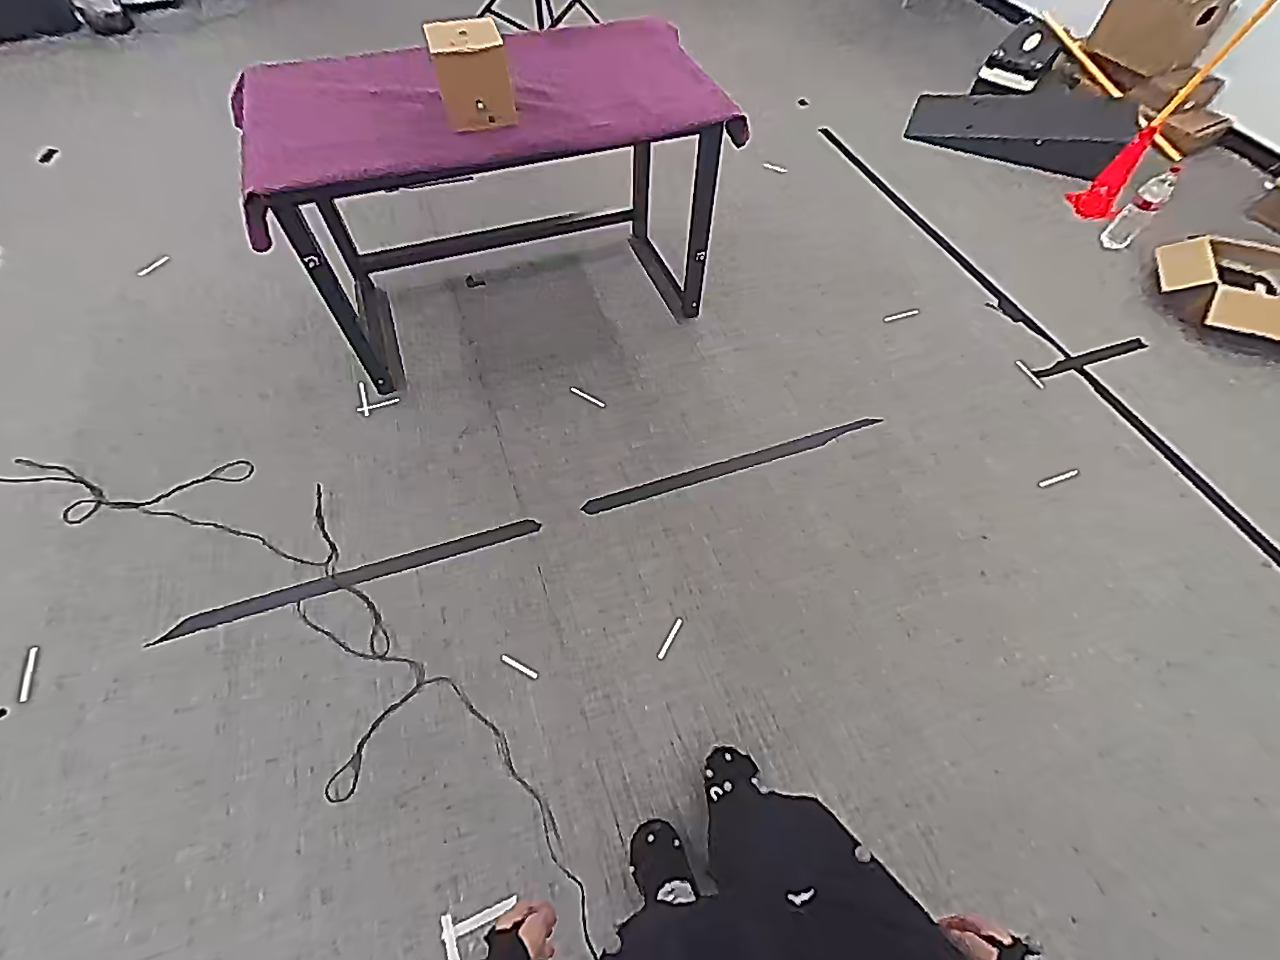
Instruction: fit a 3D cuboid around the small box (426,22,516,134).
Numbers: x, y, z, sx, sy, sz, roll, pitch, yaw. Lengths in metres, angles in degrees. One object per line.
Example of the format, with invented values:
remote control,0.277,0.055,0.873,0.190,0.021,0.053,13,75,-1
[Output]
small box,-0.412,-0.986,1.330,0.168,0.176,0.179,-15,59,-10
